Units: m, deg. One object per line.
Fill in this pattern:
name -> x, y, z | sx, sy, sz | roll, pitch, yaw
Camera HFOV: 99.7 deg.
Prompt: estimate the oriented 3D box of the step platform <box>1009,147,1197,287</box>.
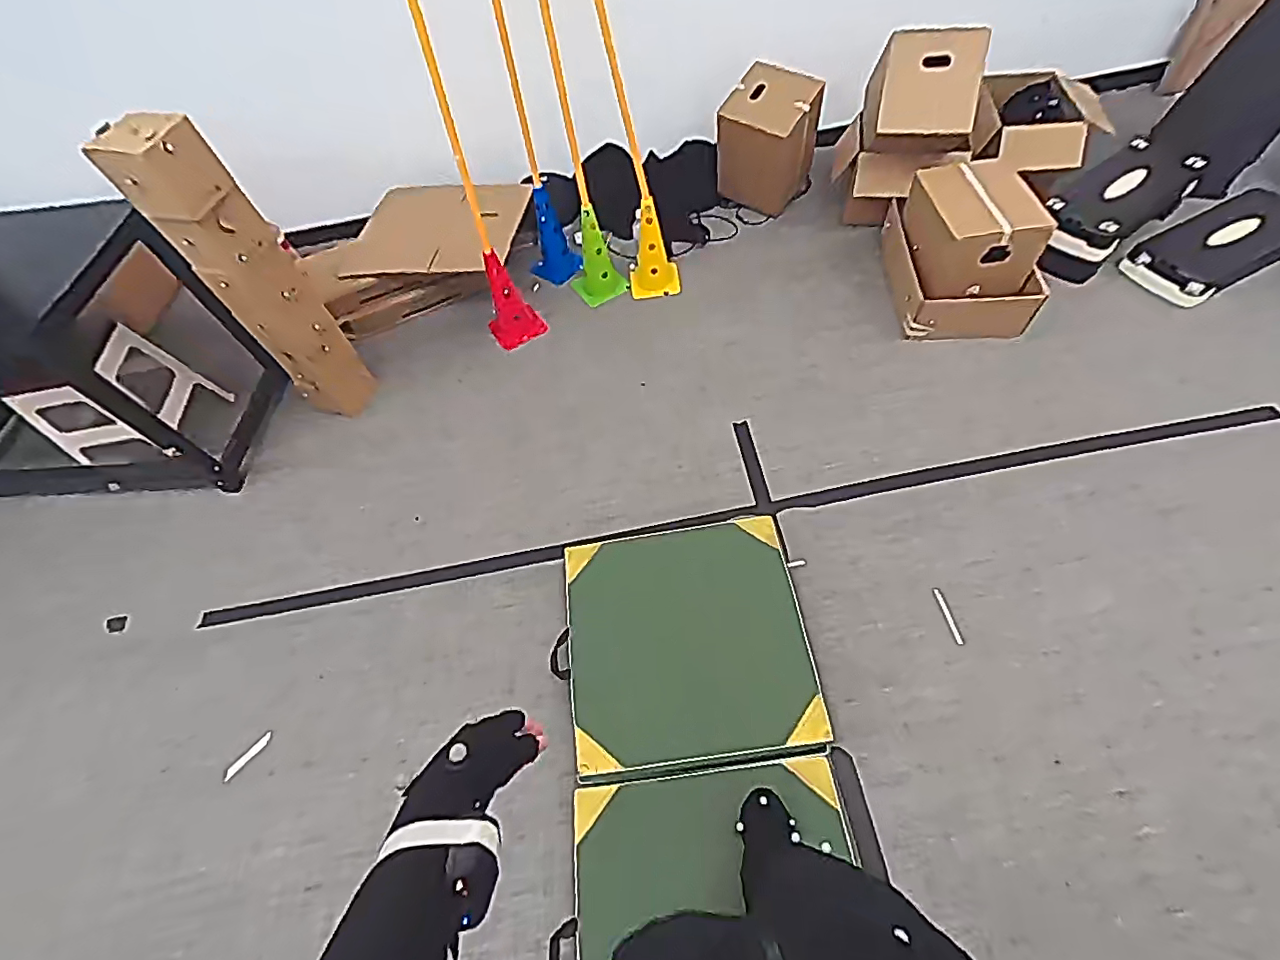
step platform -> 1.779, -1.023, 2.083 | 0.684, 0.204, 0.286 | -35, 61, -14
